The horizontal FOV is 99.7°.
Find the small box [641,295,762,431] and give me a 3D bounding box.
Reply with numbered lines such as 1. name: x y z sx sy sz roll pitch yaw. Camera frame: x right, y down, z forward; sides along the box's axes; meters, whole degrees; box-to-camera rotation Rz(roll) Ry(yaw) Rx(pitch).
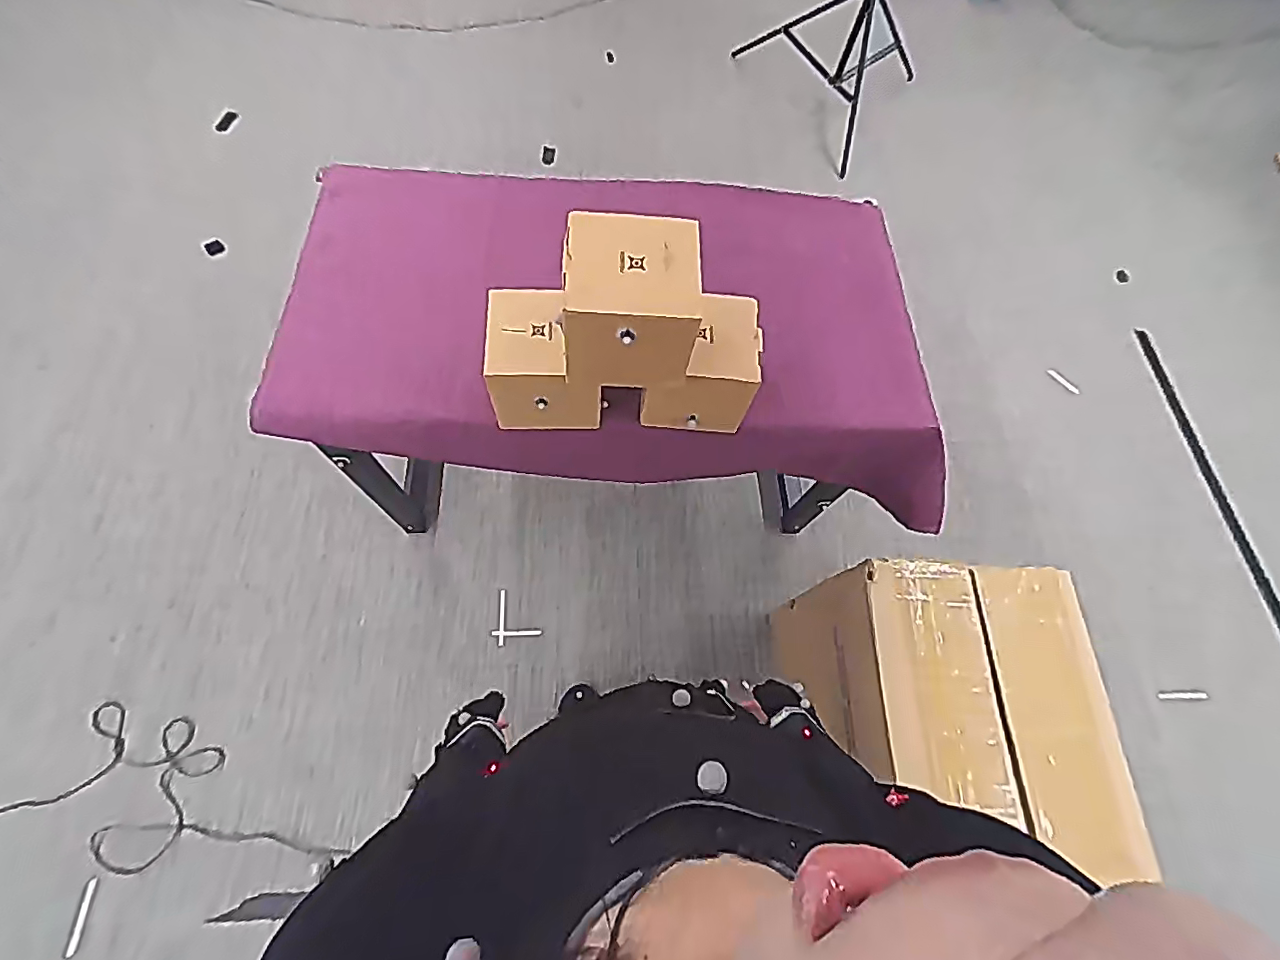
1. small box: 0.099 -0.196 0.928 0.179 0.176 0.168 4 66 -3

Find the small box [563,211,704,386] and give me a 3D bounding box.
1. small box: -0.013 -0.246 0.761 0.179 0.176 0.168 2 68 -5

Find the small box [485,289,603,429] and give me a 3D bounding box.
1. small box: -0.151 -0.195 0.904 0.179 0.176 0.168 -1 66 -4
